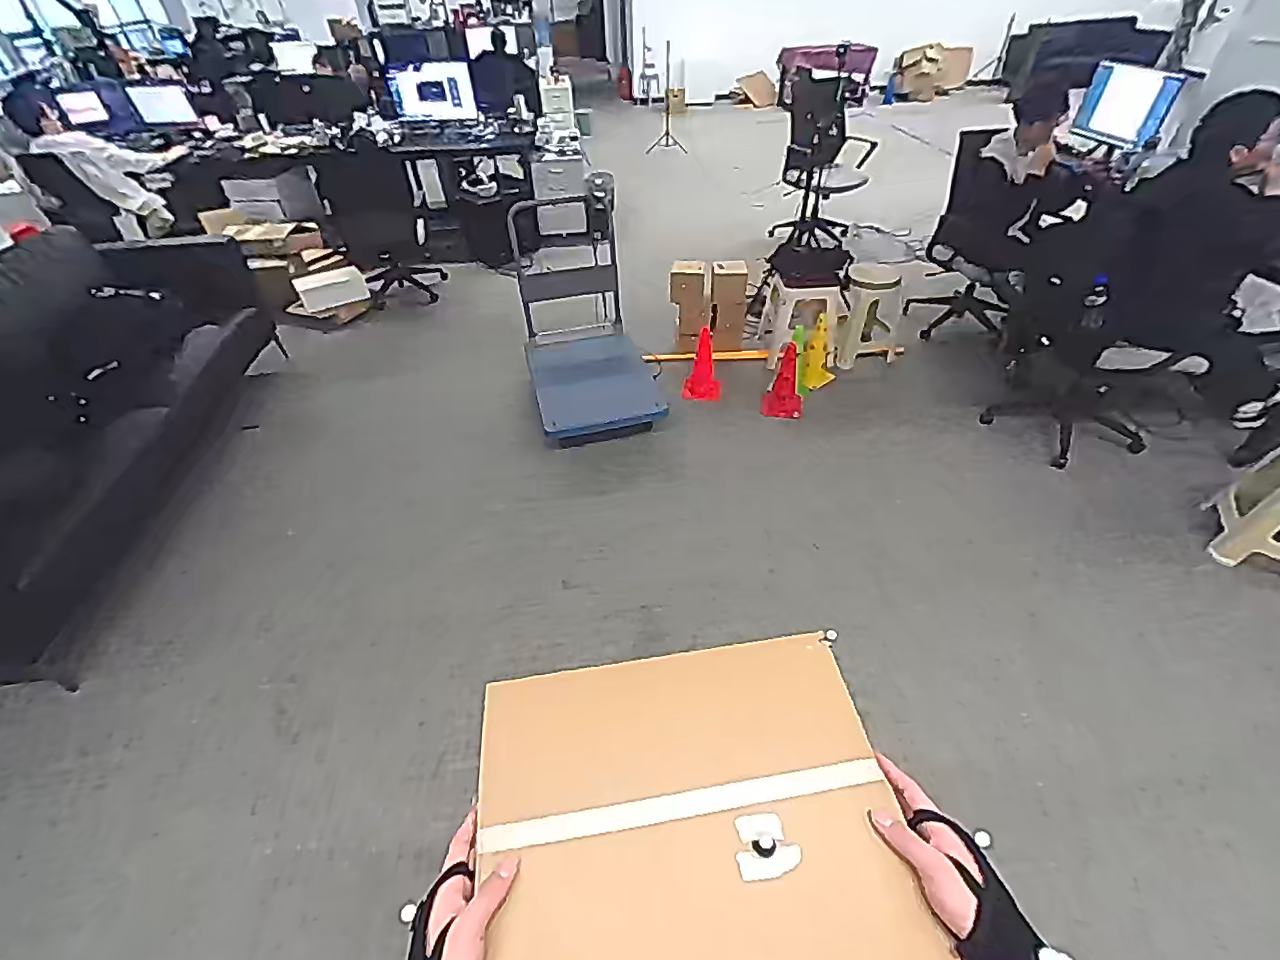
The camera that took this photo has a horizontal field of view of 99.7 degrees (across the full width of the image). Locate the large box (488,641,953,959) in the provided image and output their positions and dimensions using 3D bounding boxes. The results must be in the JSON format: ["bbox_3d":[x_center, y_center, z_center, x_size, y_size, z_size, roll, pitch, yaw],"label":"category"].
[{"bbox_3d":[0.053,0.438,0.647,0.408,0.320,0.320,-8,47,-5],"label":"large box"}]
